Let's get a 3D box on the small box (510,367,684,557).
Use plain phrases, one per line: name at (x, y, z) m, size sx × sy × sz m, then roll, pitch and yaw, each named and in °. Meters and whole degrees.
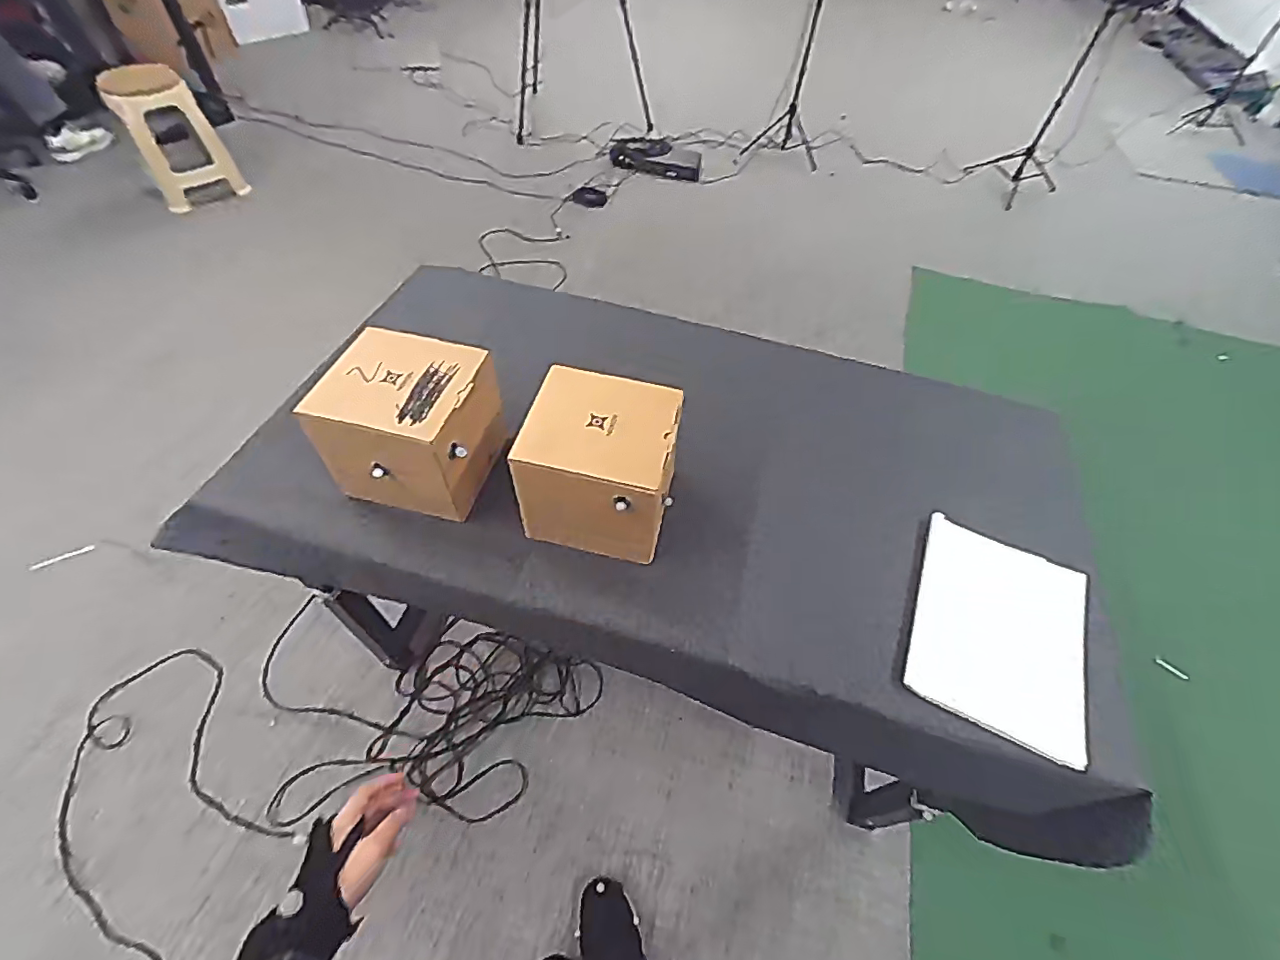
small box at (-0.050, -0.019, 0.708) m, size 0.179 × 0.176 × 0.168 m, roll 12°, pitch 53°, yaw 4°
